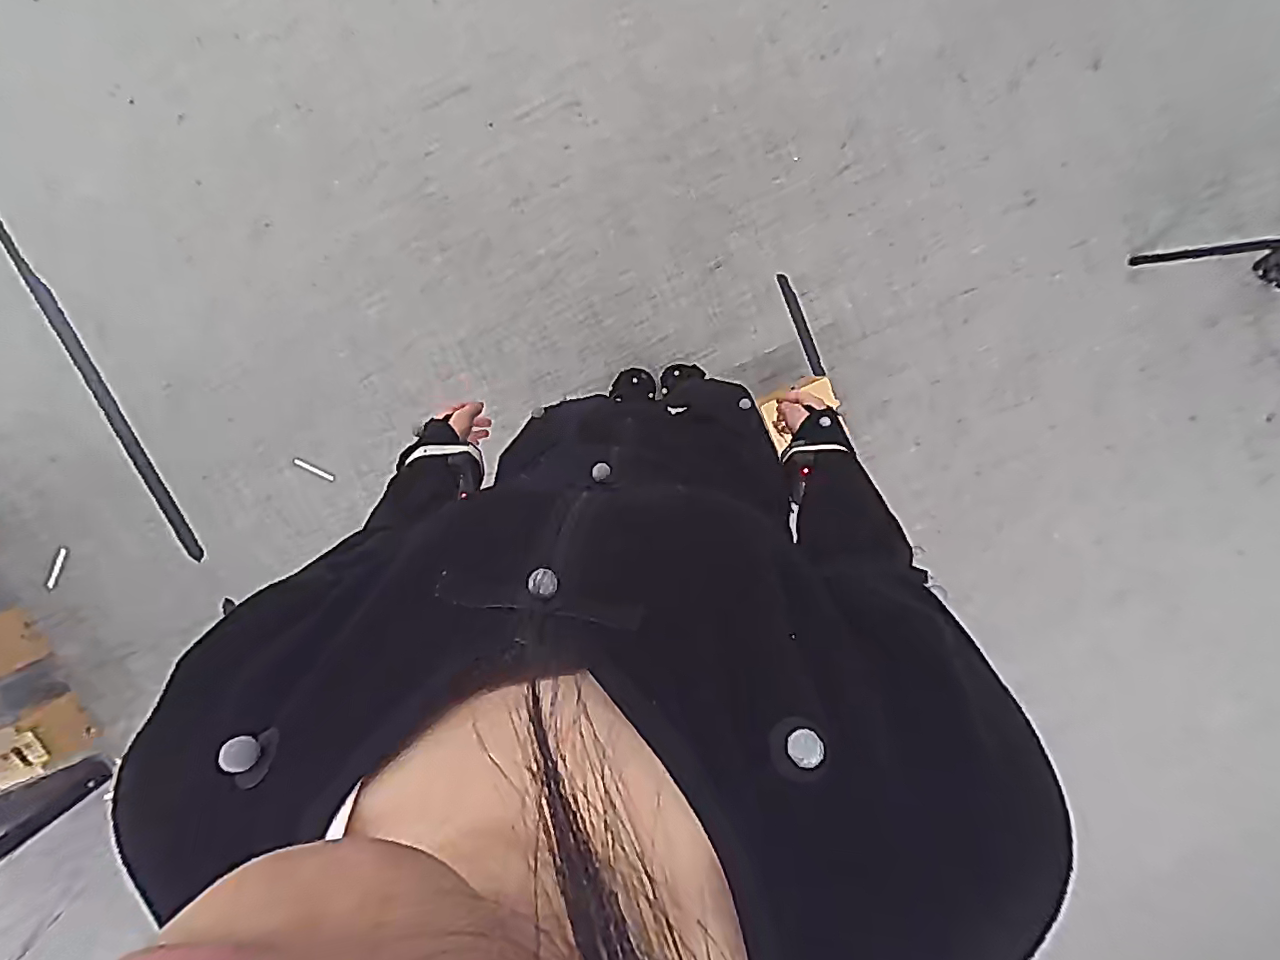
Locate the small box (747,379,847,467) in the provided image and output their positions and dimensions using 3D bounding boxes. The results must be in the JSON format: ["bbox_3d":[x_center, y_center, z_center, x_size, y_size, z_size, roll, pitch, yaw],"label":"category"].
[{"bbox_3d":[0.395,-0.154,1.386,0.179,0.176,0.168,-24,100,4],"label":"small box"}]

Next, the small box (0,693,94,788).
[{"bbox_3d":[-1.800,0.769,1.610,0.179,0.176,0.168,-21,100,6],"label":"small box"}]
